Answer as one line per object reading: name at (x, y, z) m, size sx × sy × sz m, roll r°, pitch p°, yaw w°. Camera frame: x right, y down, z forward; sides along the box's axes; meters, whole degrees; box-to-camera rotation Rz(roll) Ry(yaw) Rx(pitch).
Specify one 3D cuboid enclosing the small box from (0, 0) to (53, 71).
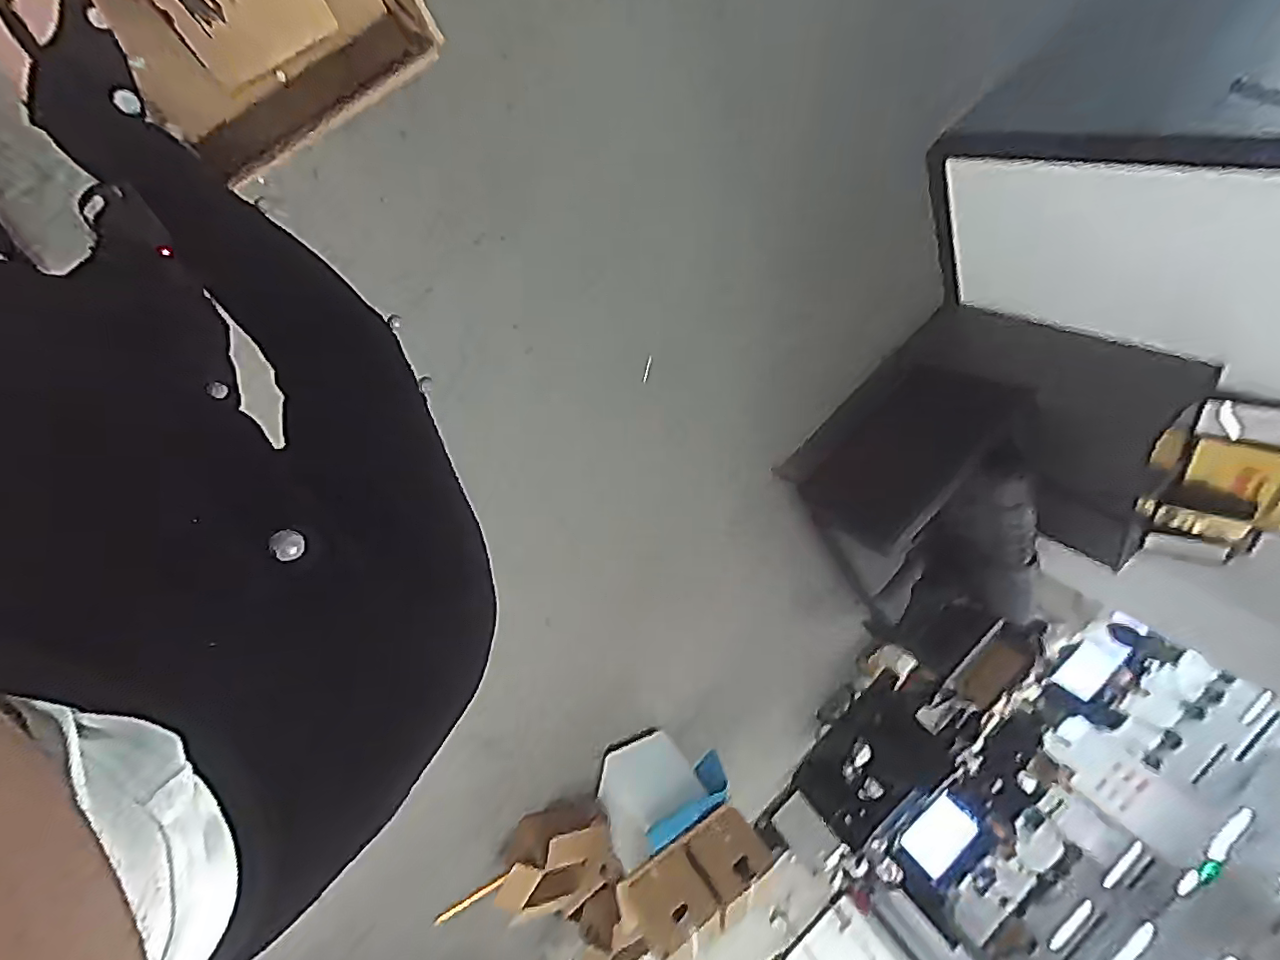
small box at (-0.549, -0.445, 0.379) m, size 0.168 × 0.176 × 0.179 m, roll -7°, pitch 101°, yaw -41°
